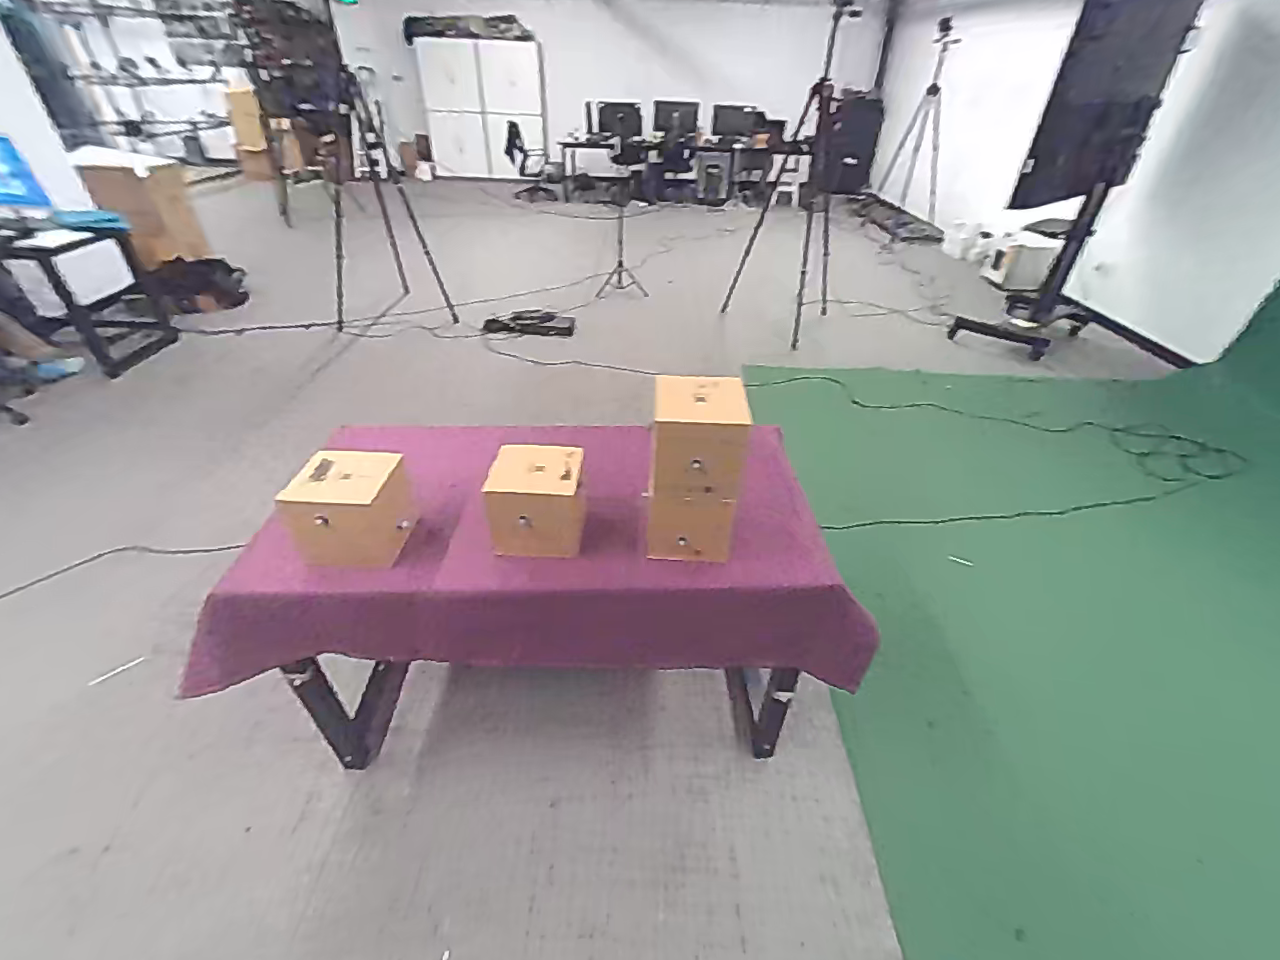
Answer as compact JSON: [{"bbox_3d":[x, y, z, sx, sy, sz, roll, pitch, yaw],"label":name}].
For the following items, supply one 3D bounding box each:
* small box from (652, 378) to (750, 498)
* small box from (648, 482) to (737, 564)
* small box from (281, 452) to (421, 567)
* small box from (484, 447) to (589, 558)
[{"bbox_3d":[0.110,-0.080,1.039,0.168,0.176,0.179,3,37,0],"label":"small box"},{"bbox_3d":[0.105,0.052,1.138,0.168,0.176,0.179,3,37,2],"label":"small box"},{"bbox_3d":[-0.570,0.060,1.095,0.179,0.176,0.168,3,36,0],"label":"small box"},{"bbox_3d":[-0.206,0.047,1.130,0.179,0.176,0.168,2,37,1],"label":"small box"}]
